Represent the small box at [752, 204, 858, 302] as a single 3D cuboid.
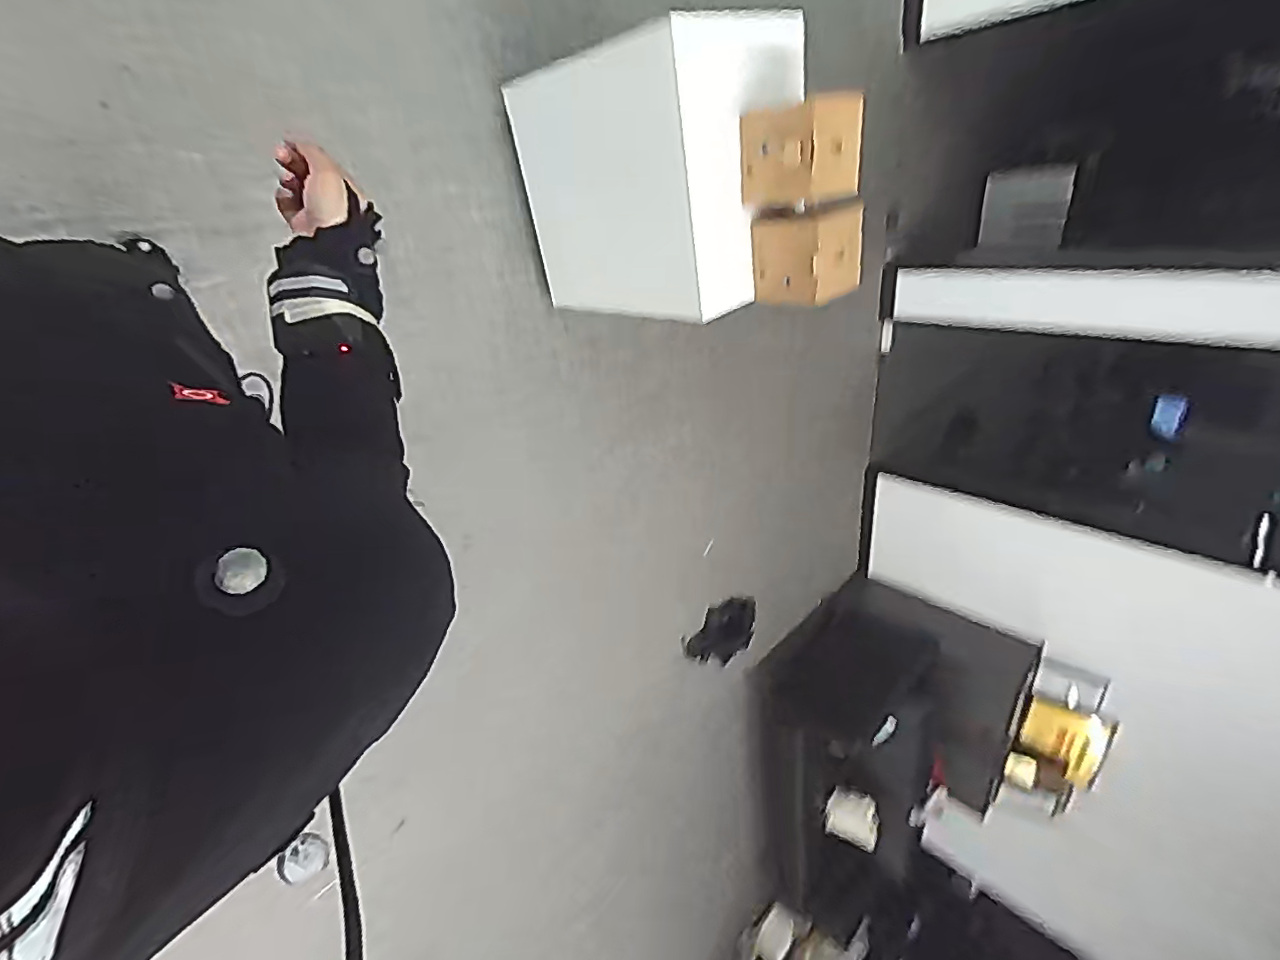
[{"bbox_3d":[0.359,-0.501,1.196,0.179,0.176,0.168,-33,128,-32],"label":"small box"}]
